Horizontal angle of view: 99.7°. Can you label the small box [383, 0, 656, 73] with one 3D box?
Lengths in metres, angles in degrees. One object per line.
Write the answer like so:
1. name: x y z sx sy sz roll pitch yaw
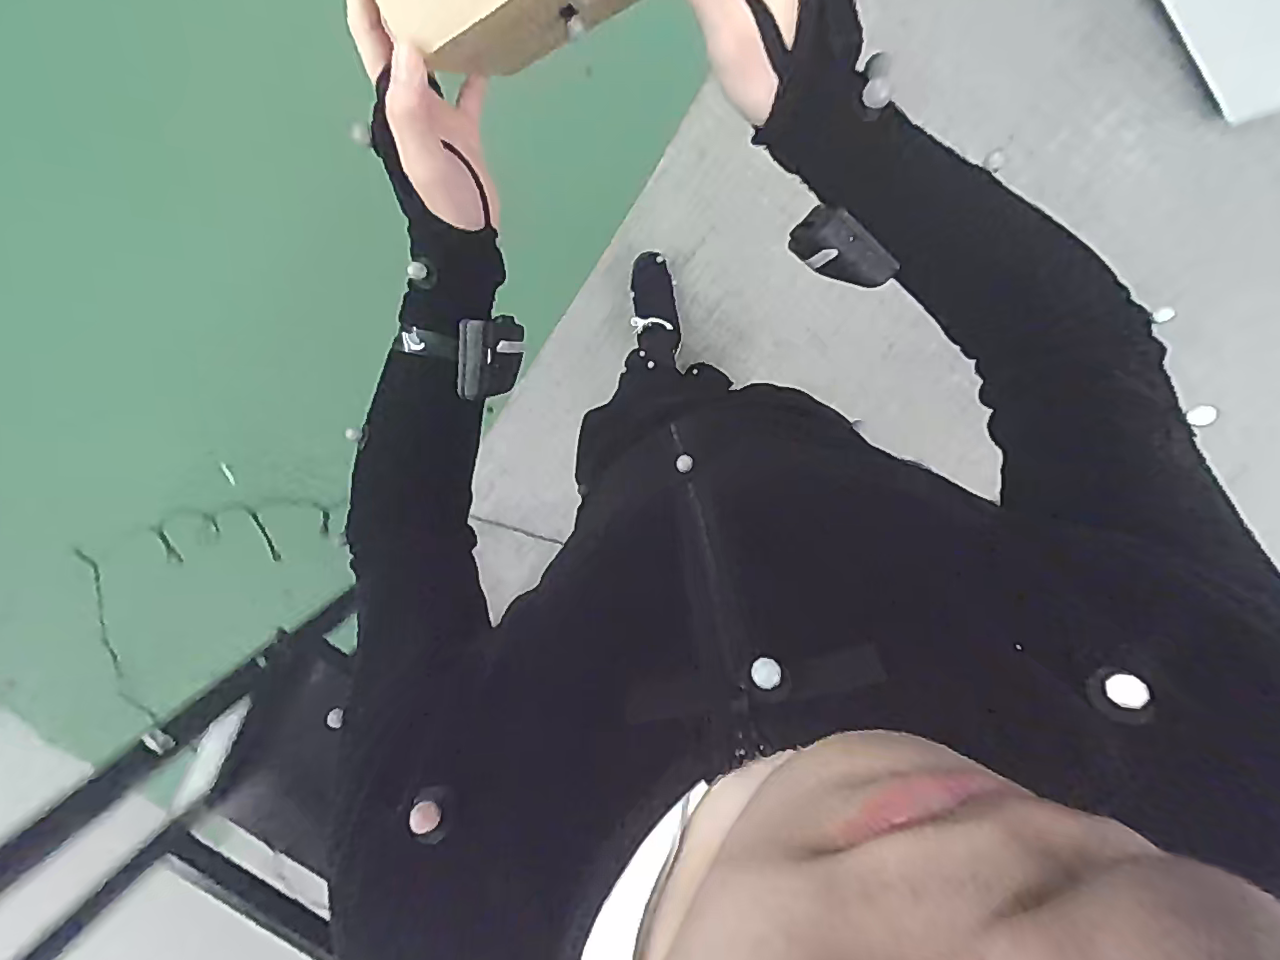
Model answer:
1. small box: -0.063 -0.357 0.297 0.179 0.176 0.168 -14 120 19
